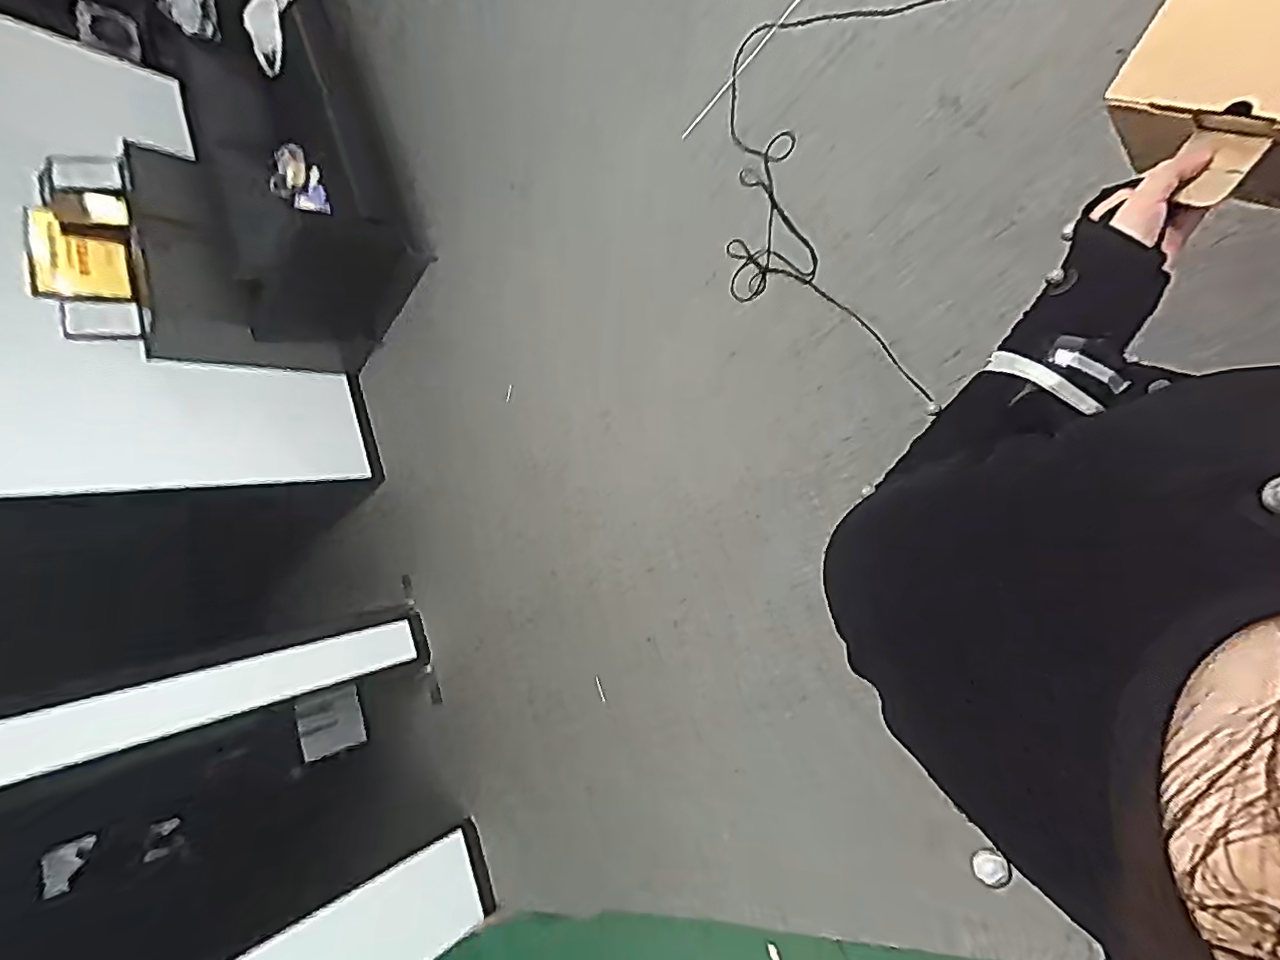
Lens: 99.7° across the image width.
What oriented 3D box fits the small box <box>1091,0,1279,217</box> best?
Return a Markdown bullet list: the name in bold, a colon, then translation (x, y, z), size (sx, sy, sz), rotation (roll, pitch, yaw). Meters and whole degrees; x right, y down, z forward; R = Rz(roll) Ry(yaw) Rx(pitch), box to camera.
- **small box**: translation (0.484, -0.314, 0.387), size (0.168, 0.176, 0.179), rotation (46, 125, 39)
